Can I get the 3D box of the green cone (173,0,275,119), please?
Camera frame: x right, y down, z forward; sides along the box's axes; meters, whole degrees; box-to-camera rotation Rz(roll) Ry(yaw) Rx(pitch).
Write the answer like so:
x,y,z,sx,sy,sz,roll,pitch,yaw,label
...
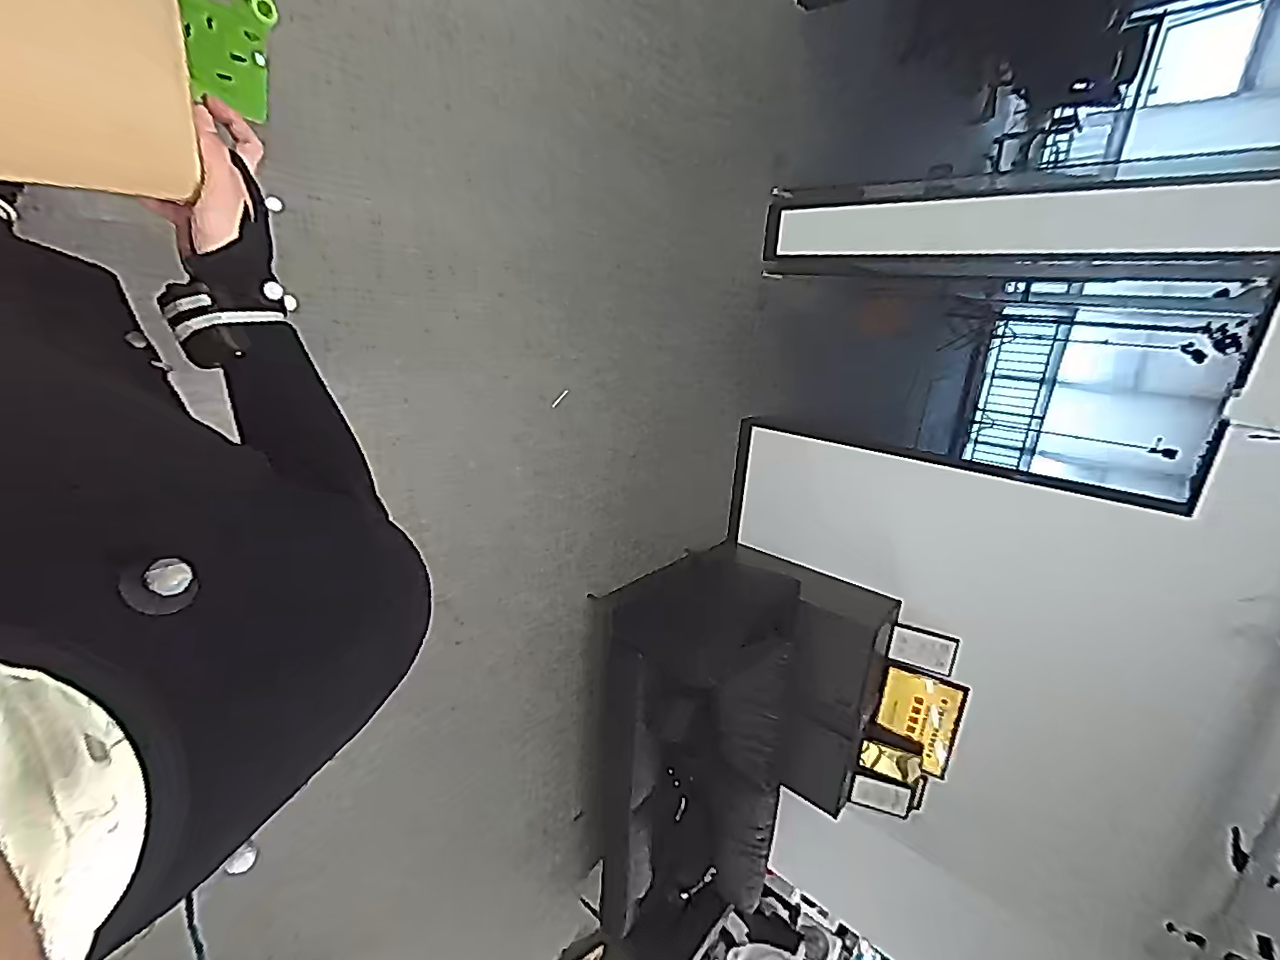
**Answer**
x,y,z,sx,sy,sz,roll,pitch,yaw,label
-0.797,-0.880,1.060,0.200,0.368,0.202,-8,109,-50,green cone
